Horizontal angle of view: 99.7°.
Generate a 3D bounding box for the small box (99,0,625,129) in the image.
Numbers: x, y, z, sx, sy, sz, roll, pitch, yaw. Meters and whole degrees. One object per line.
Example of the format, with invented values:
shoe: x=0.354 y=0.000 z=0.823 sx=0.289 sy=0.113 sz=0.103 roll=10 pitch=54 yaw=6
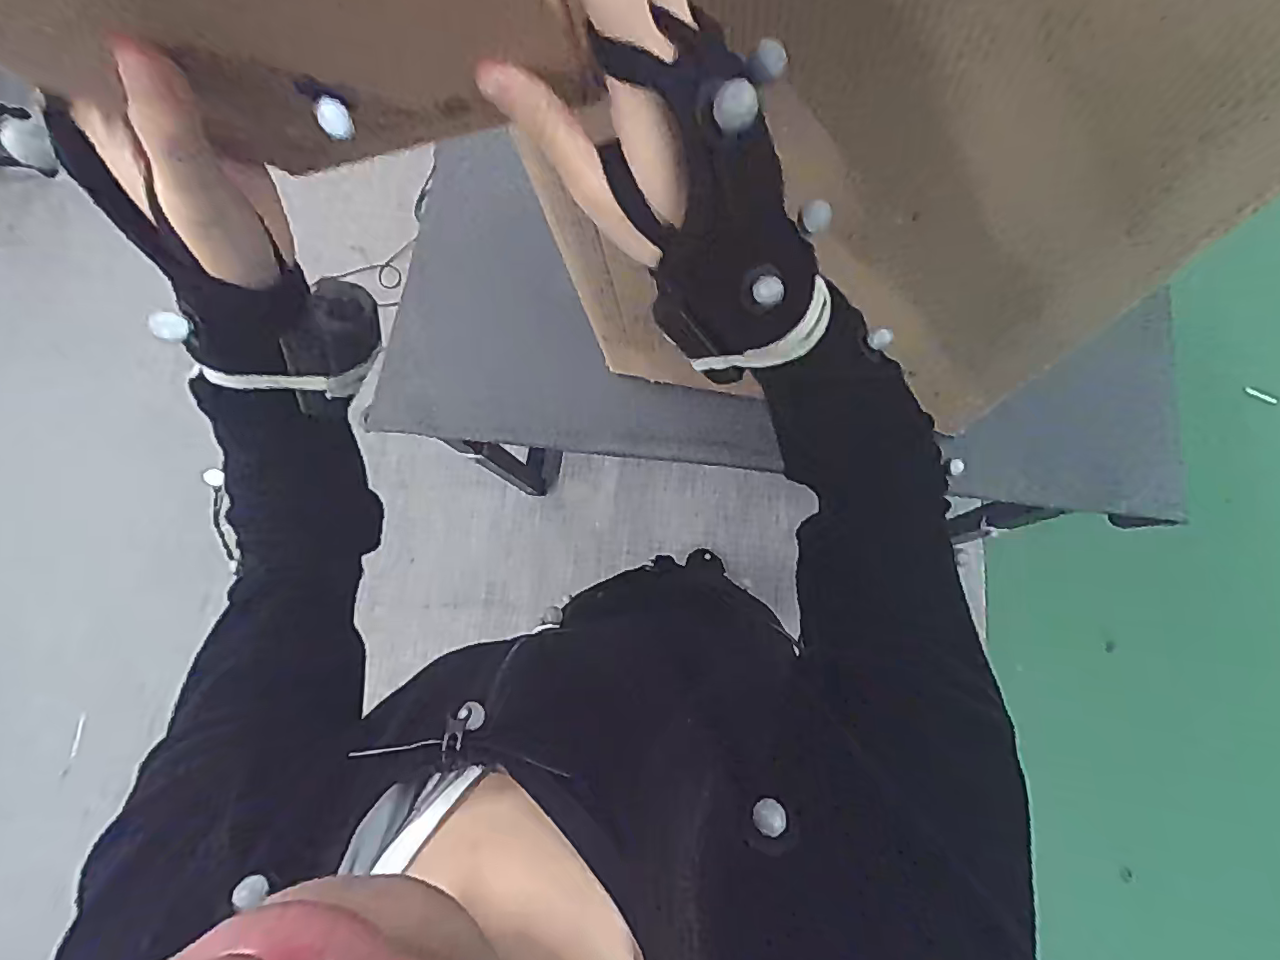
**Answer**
small box: x=-0.106 y=-0.239 z=0.155 sx=0.168 sy=0.176 sz=0.179 roll=-4 pitch=105 yaw=11
